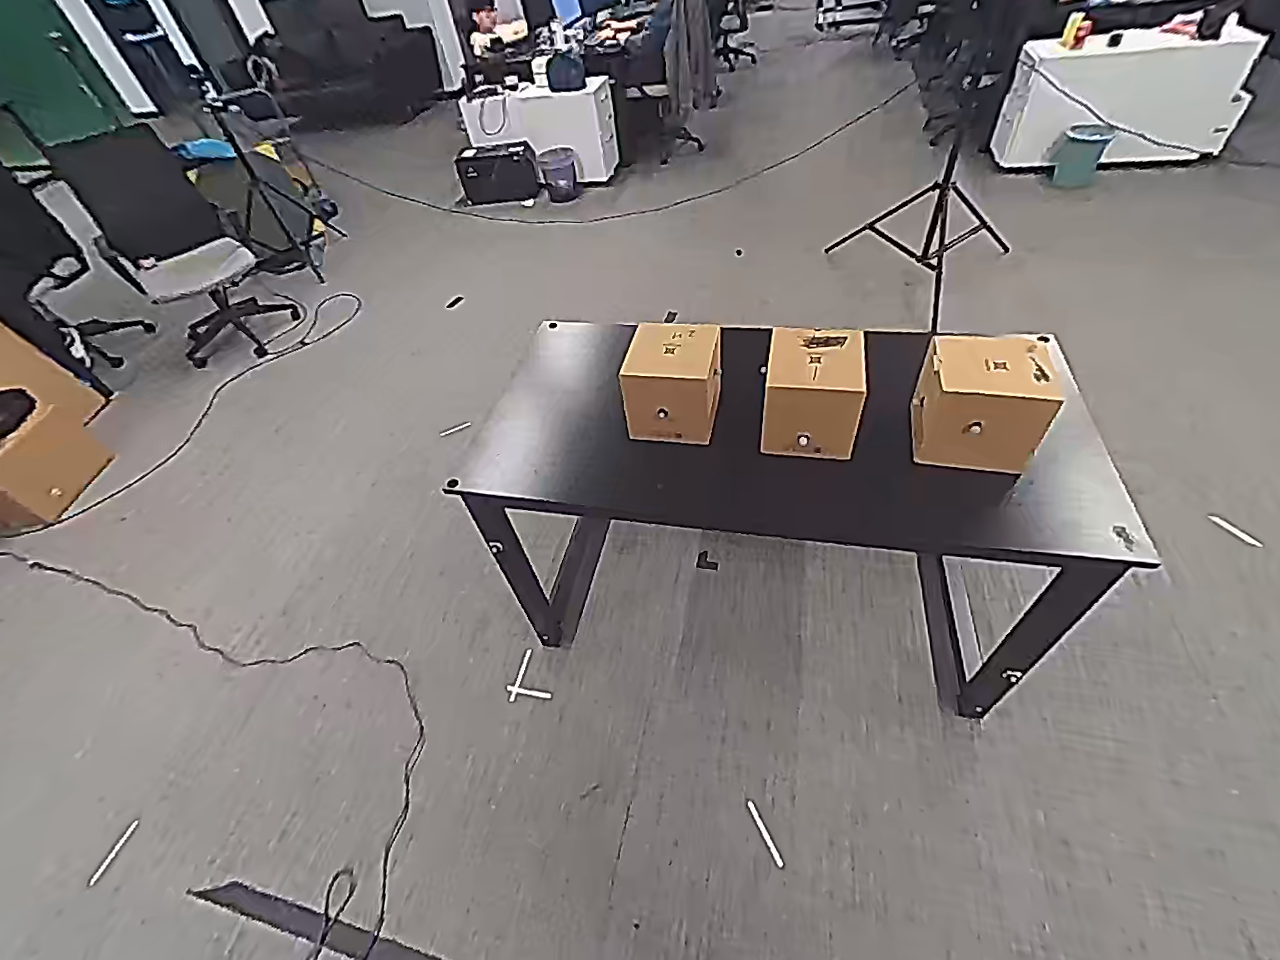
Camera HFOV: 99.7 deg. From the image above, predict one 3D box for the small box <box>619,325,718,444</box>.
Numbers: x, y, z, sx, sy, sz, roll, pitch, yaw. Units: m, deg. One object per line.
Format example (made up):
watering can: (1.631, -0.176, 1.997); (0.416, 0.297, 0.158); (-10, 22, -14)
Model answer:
small box: (0.067, -0.191, 1.090); (0.168, 0.176, 0.179); (6, 49, 13)

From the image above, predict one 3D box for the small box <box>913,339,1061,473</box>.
small box: (0.592, -0.129, 0.954); (0.179, 0.176, 0.168); (7, 49, 16)

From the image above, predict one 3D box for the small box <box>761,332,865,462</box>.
small box: (0.321, -0.158, 1.022); (0.168, 0.176, 0.179); (6, 50, 14)
